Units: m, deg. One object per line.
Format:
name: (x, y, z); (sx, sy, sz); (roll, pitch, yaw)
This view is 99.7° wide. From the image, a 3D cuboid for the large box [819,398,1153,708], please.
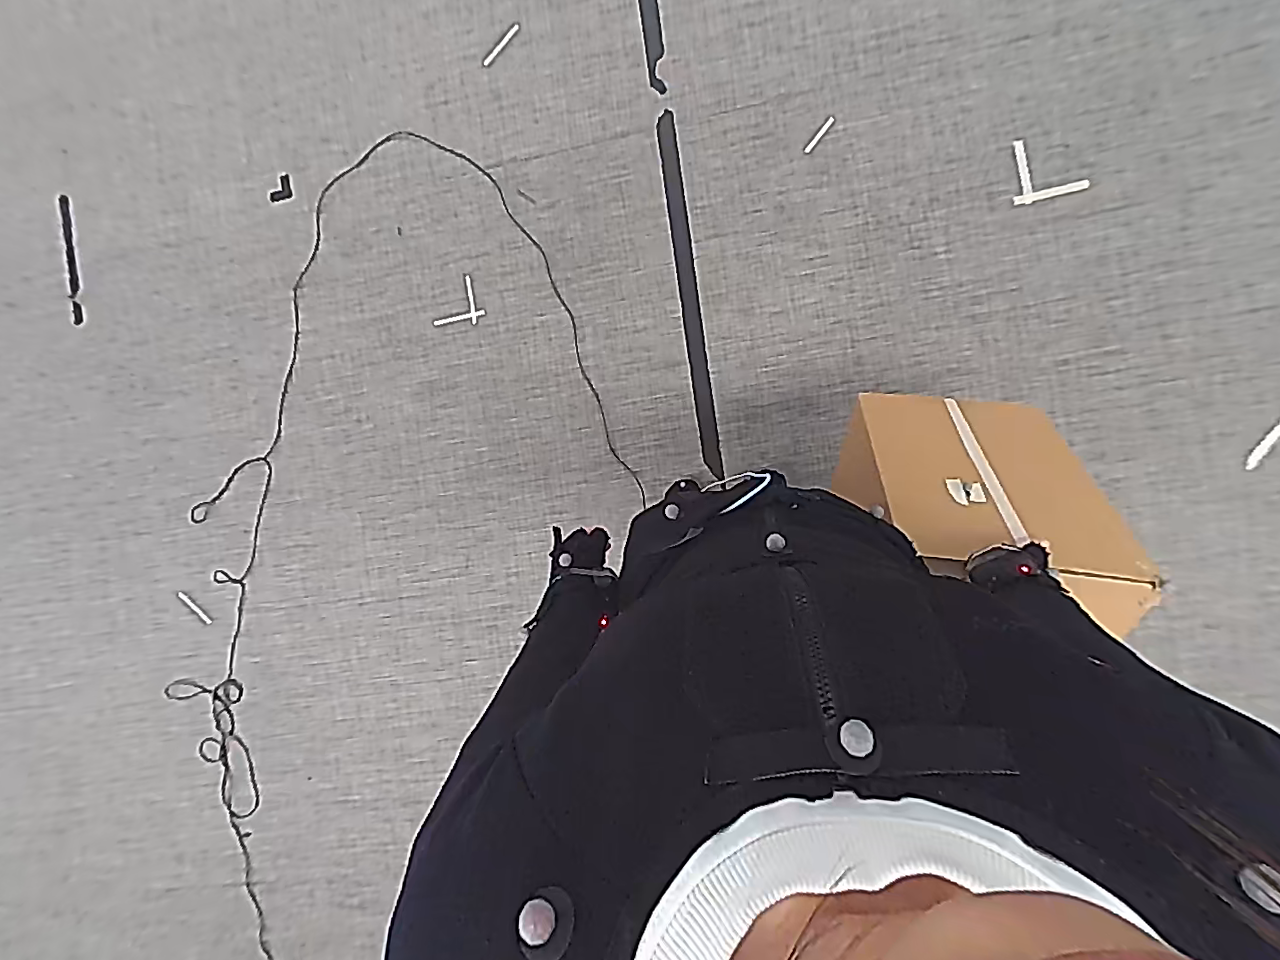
large box: (0.508, 0.106, 0.920); (0.320, 0.408, 0.320); (5, 131, 8)
